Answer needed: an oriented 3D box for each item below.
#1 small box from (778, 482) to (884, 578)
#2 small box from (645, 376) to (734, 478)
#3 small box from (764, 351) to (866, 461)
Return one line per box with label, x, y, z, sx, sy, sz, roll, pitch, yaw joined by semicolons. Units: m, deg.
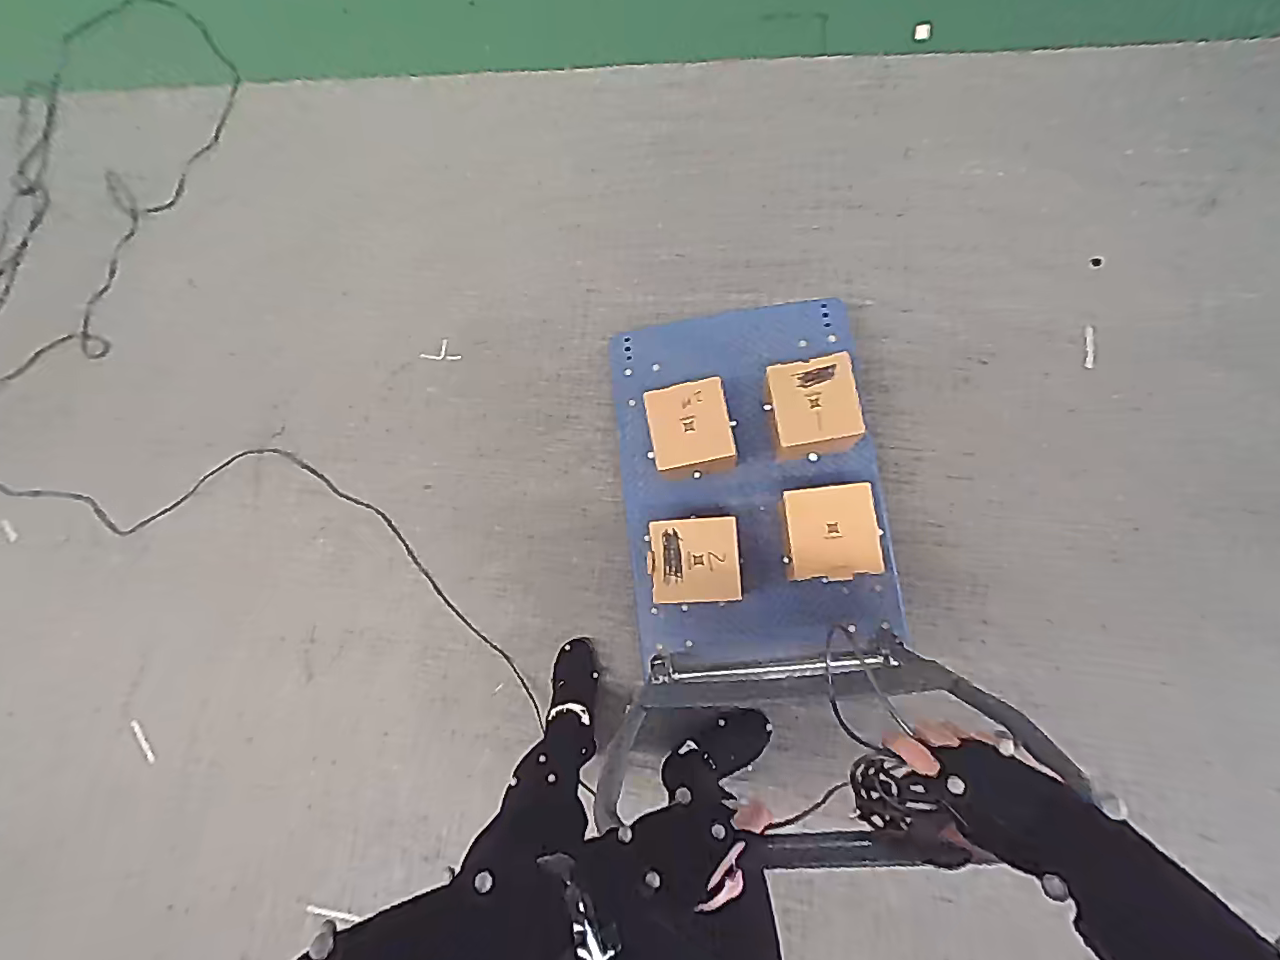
small box;0.384;0.109;1.116;0.168;0.176;0.179;-6;80;9
small box;0.114;-0.107;1.196;0.168;0.176;0.179;-11;79;7
small box;0.365;-0.151;1.160;0.168;0.176;0.179;-9;80;8
